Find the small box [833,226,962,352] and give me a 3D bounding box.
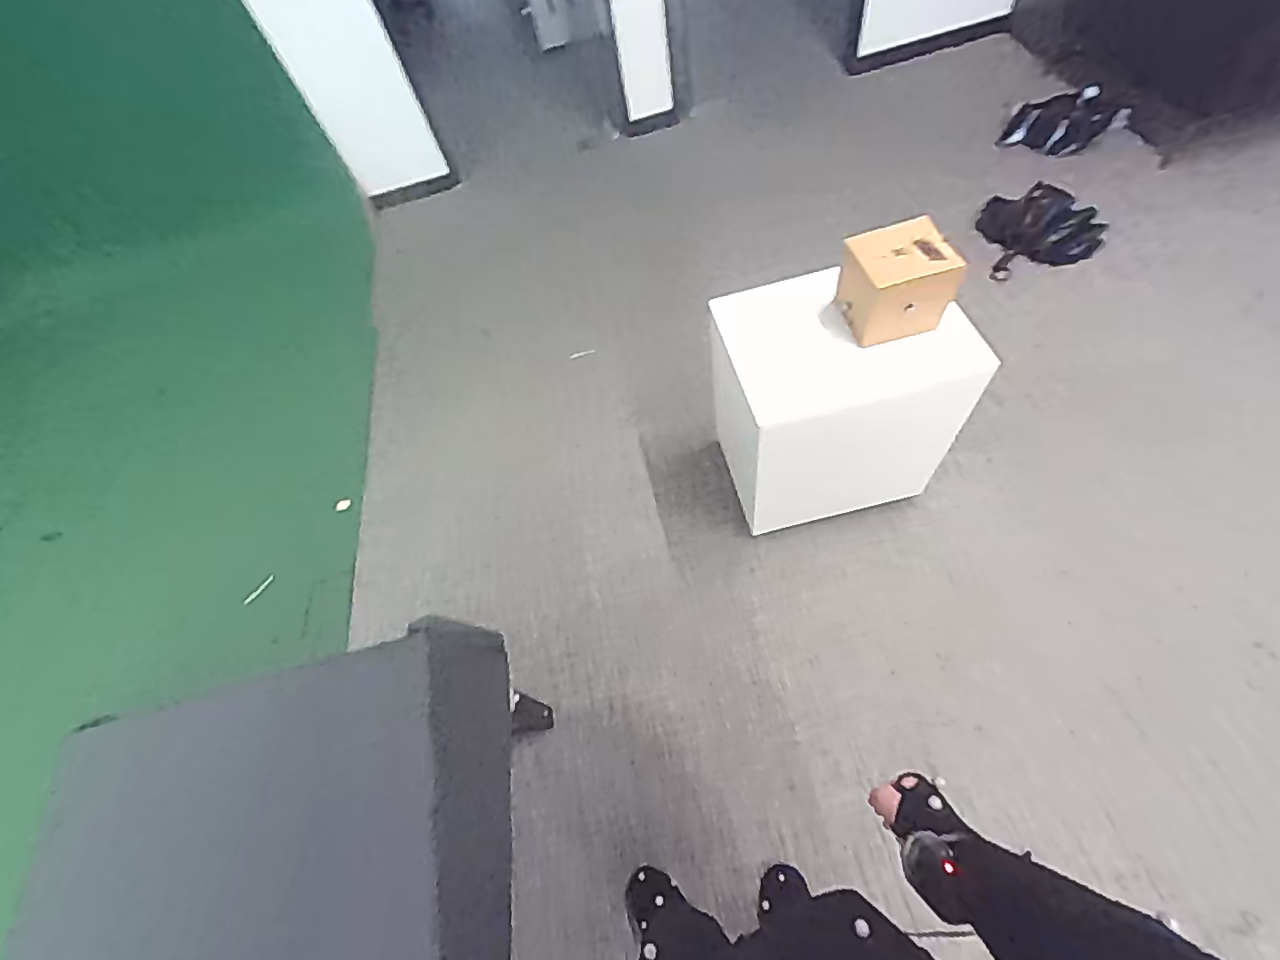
[{"bbox_3d":[0.534,-0.401,1.151,0.179,0.176,0.168,-13,58,1],"label":"small box"}]
